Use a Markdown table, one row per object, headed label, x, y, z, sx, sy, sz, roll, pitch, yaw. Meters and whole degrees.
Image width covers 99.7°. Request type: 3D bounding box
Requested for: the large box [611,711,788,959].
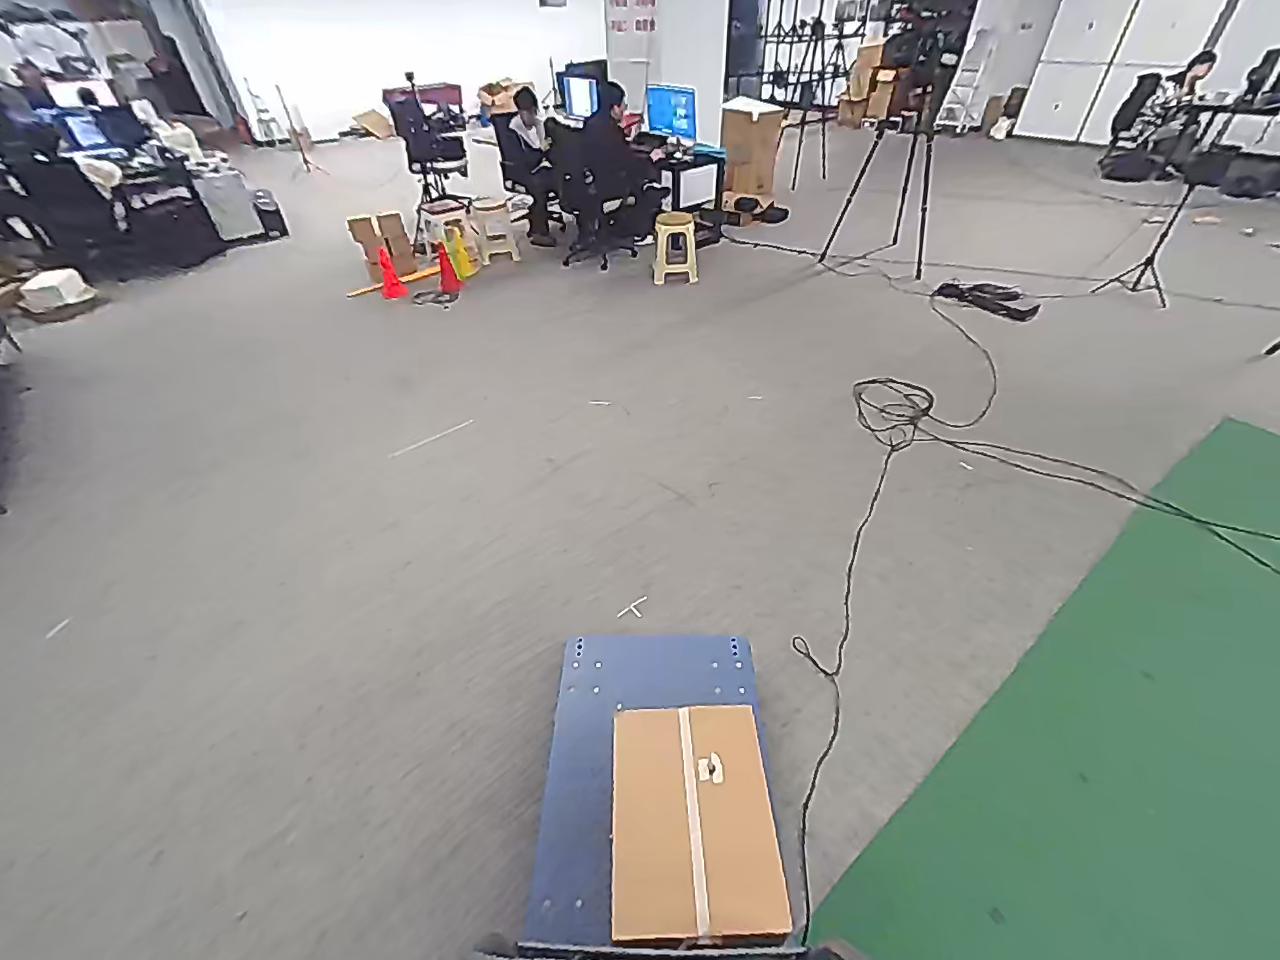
| label | x | y | z | sx | sy | sz | roll | pitch | yaw |
| --- | --- | --- | --- | --- | --- | --- | --- | --- | --- |
| large box | 0.103 | 0.777 | 1.178 | 0.320 | 0.320 | 0.408 | -2 | 40 | -1 |
